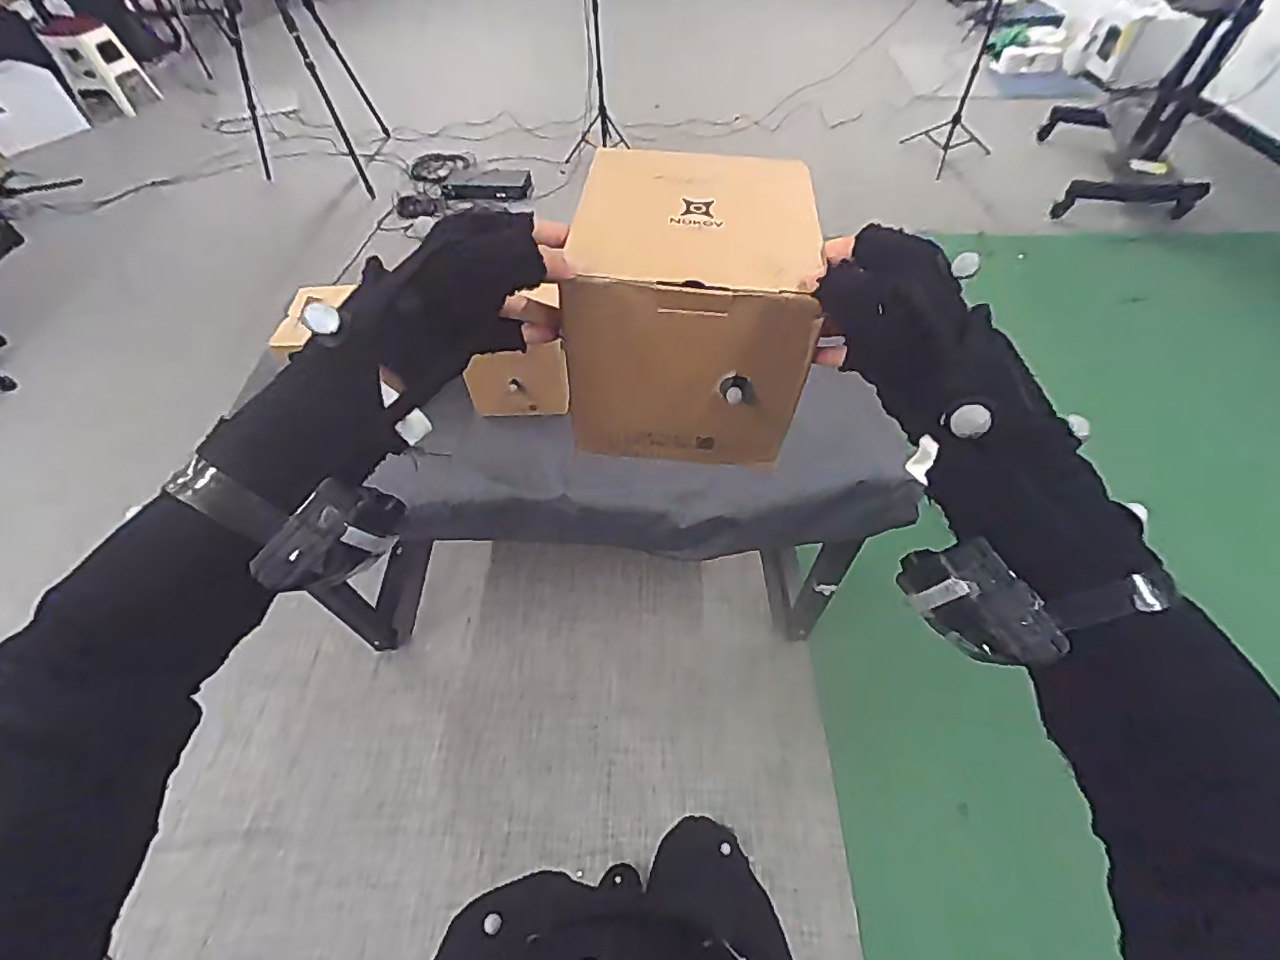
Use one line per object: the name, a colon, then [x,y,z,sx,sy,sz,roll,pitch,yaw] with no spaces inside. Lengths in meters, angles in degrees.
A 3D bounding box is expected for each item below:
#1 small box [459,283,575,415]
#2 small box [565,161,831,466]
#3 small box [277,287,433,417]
small box: [-0.209,-0.231,0.979,0.168,0.176,0.179,-1,53,1]
small box: [0.041,-0.129,0.440,0.168,0.176,0.179,5,52,1]
small box: [-0.502,-0.229,0.984,0.179,0.176,0.168,-2,53,-1]
